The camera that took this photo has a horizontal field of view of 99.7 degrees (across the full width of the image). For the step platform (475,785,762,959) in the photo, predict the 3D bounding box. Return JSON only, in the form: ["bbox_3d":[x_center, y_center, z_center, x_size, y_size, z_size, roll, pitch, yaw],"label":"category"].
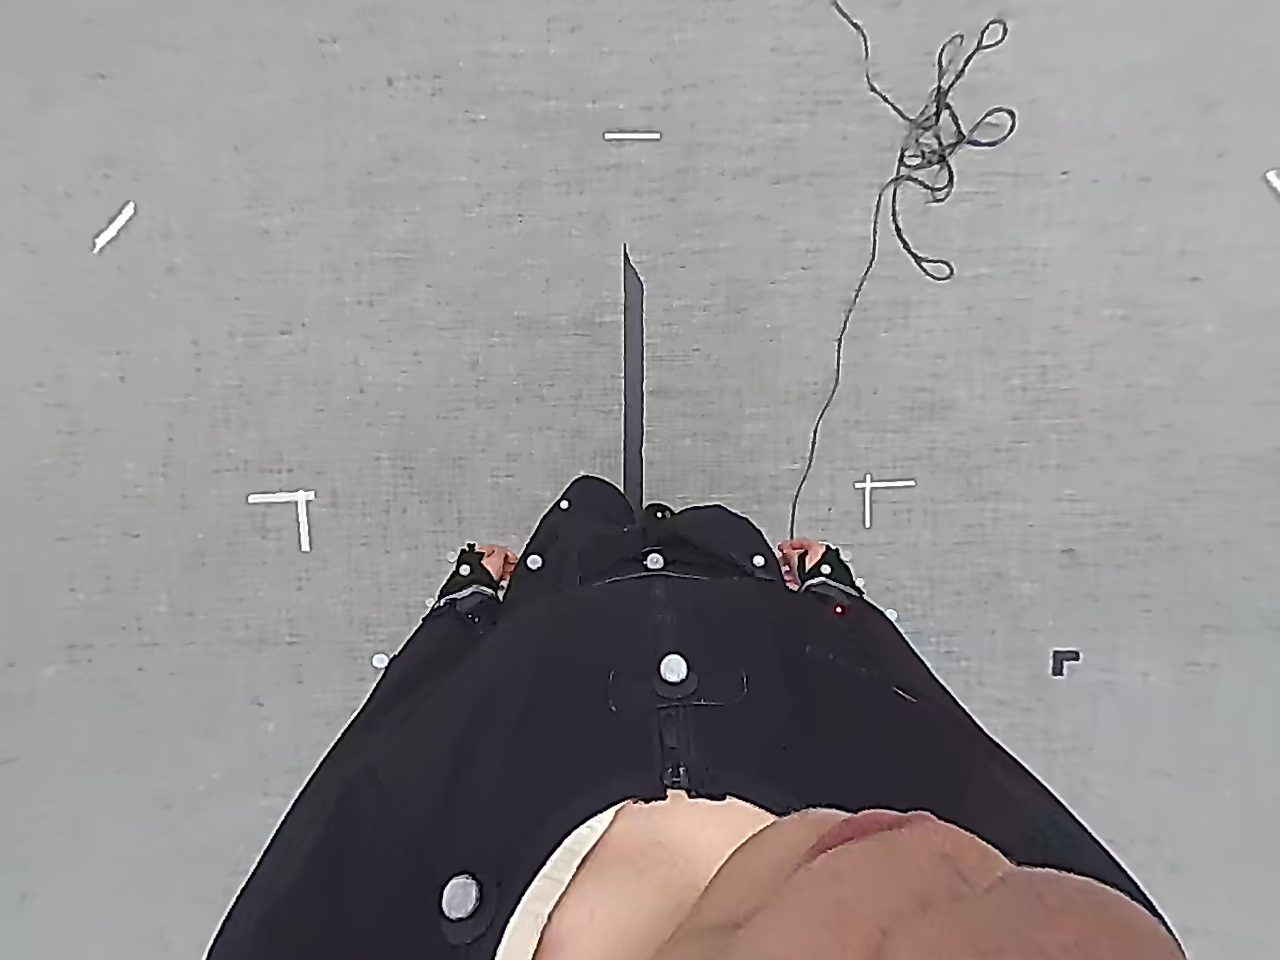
[{"bbox_3d":[-0.049,0.963,1.327,0.684,0.204,0.286,4,92,2],"label":"step platform"}]
